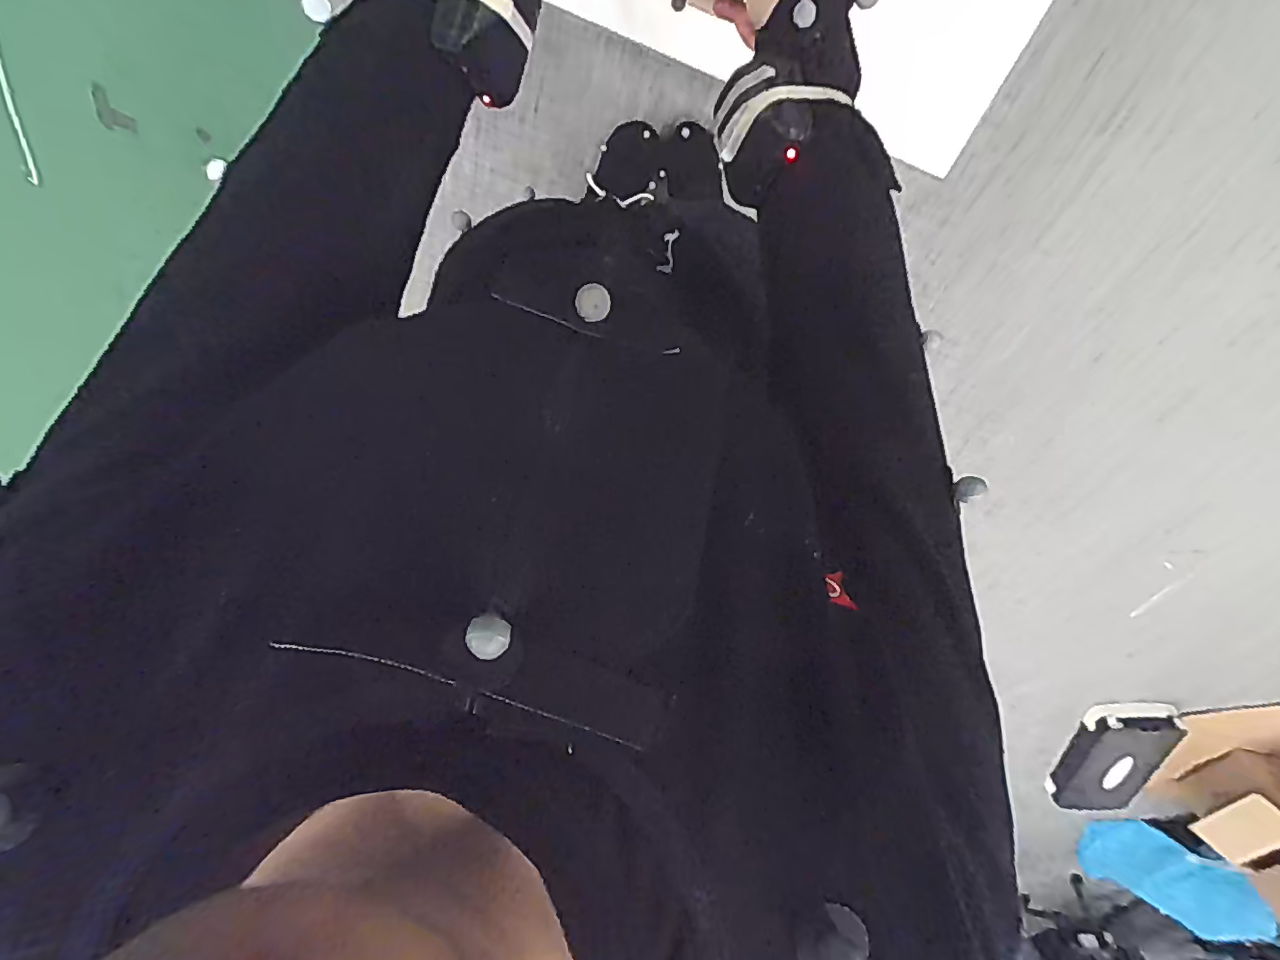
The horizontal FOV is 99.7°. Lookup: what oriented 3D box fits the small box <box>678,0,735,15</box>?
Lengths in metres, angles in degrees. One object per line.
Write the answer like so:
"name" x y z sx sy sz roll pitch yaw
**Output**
"small box" 0.028 -0.469 0.380 0.168 0.176 0.179 16 124 -10
